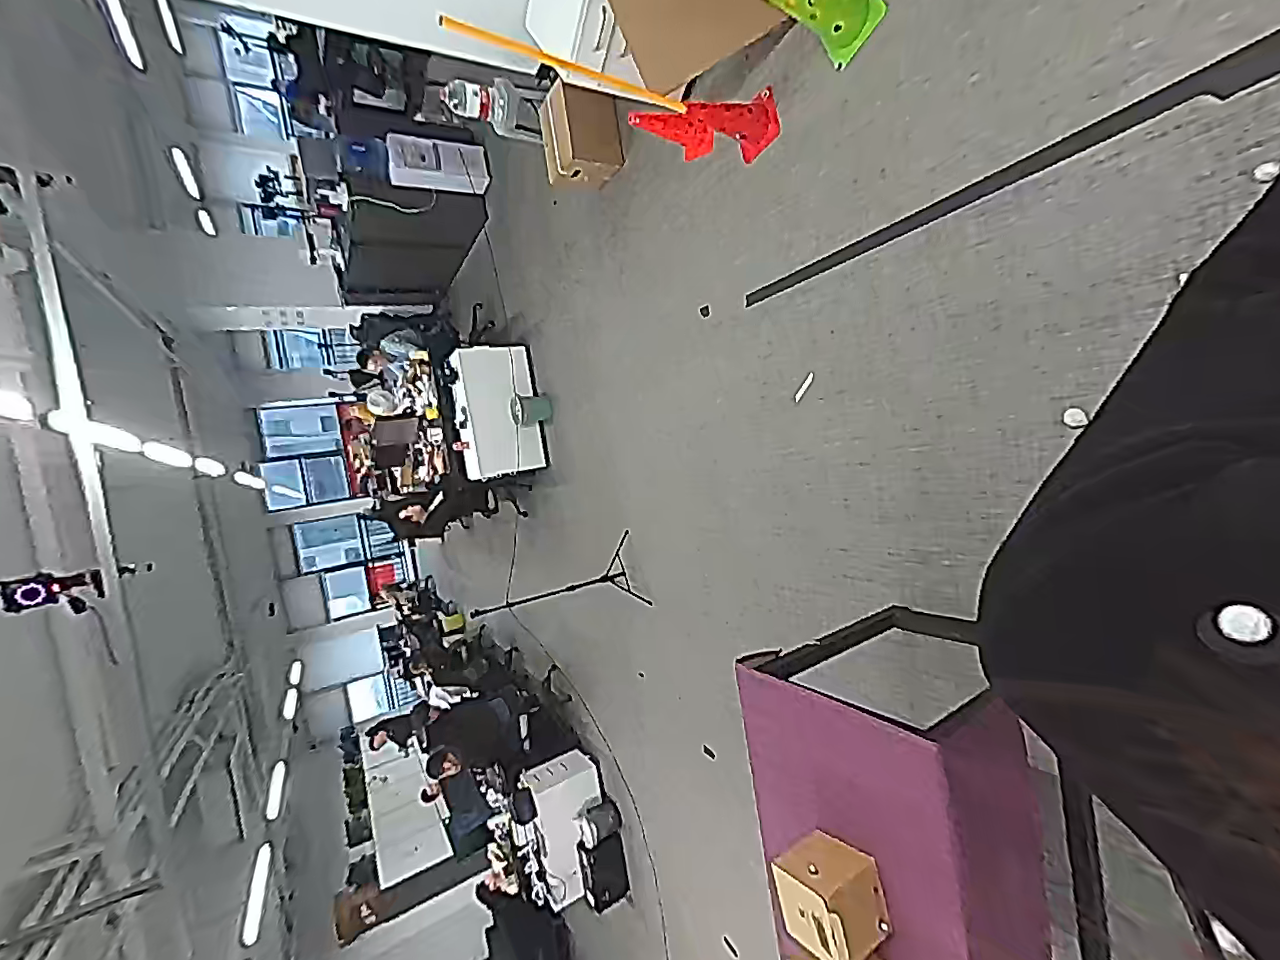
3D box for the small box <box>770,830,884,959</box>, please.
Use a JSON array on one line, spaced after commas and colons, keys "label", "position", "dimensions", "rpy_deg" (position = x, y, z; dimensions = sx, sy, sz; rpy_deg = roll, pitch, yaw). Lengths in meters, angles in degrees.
[{"label": "small box", "position": [0.441, 0.963, 1.264], "dimensions": [0.179, 0.176, 0.168], "rpy_deg": [-20, 82, 60]}]
